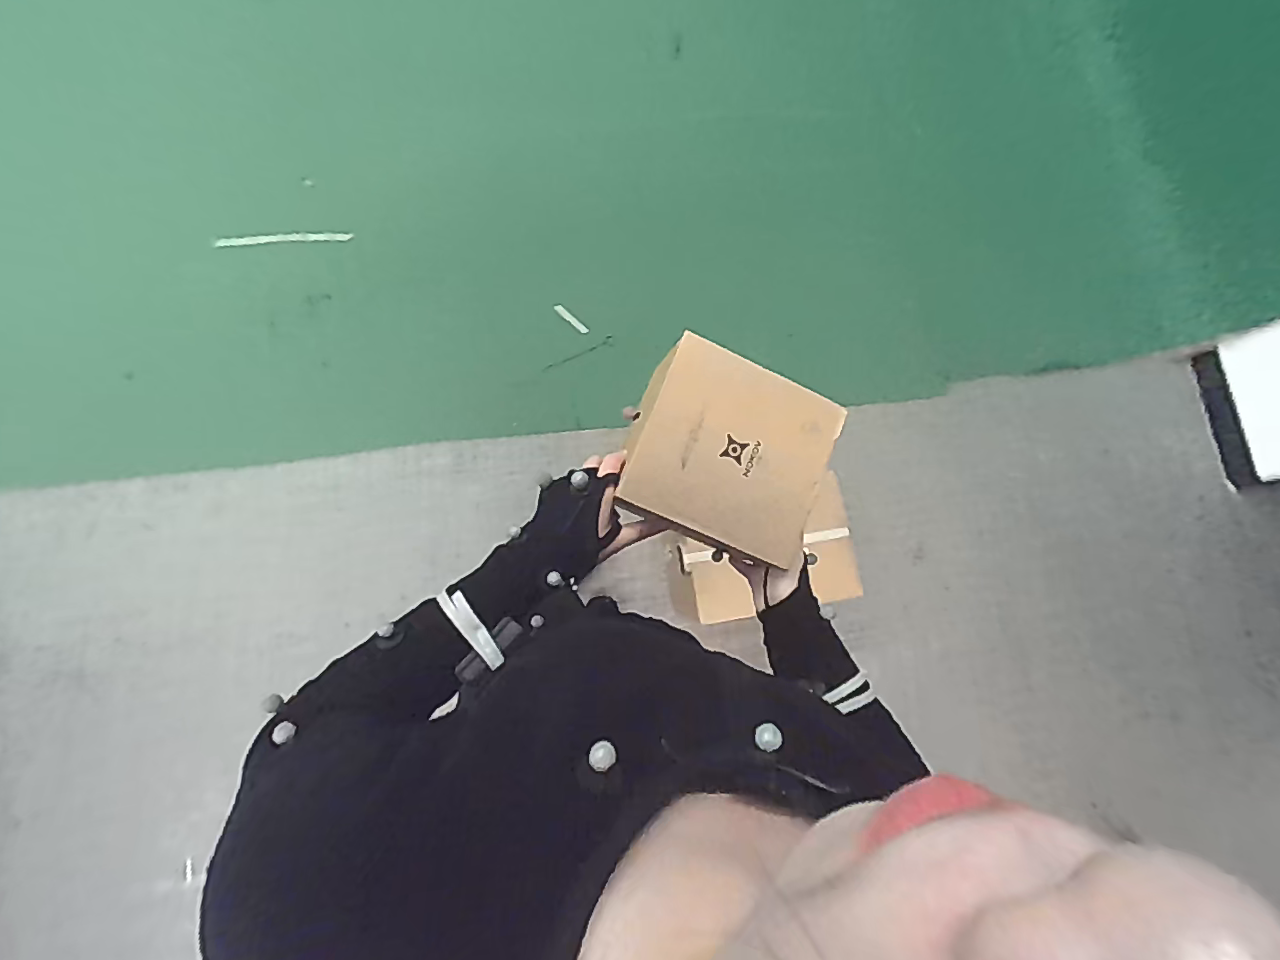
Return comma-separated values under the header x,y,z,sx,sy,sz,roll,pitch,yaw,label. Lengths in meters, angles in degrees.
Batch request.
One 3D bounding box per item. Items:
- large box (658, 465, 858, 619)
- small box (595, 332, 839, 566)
x,y,z,sx,sy,sz,roll,pitch,yaw,label
0.279,0.166,1.415,0.408,0.320,0.320,-7,82,-9,large box
0.067,-0.026,0.570,0.179,0.176,0.168,24,83,-8,small box
